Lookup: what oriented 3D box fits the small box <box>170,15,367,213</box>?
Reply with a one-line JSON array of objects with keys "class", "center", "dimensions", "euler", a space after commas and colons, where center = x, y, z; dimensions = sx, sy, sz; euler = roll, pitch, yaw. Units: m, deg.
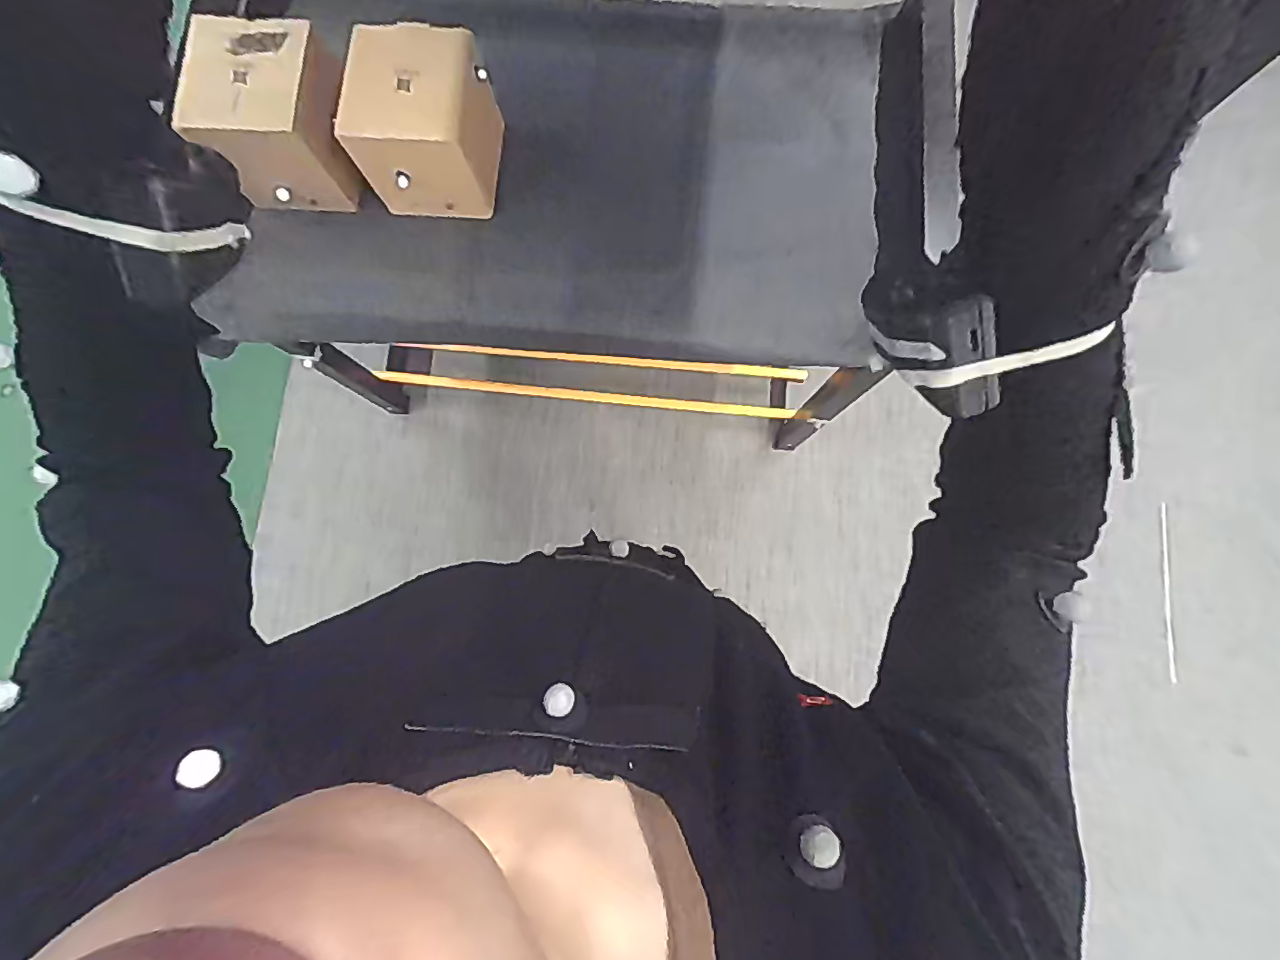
[{"class": "small box", "center": [-0.532, -0.532, 0.803], "dimensions": [0.168, 0.176, 0.179], "euler": [3, 81, 1]}]
